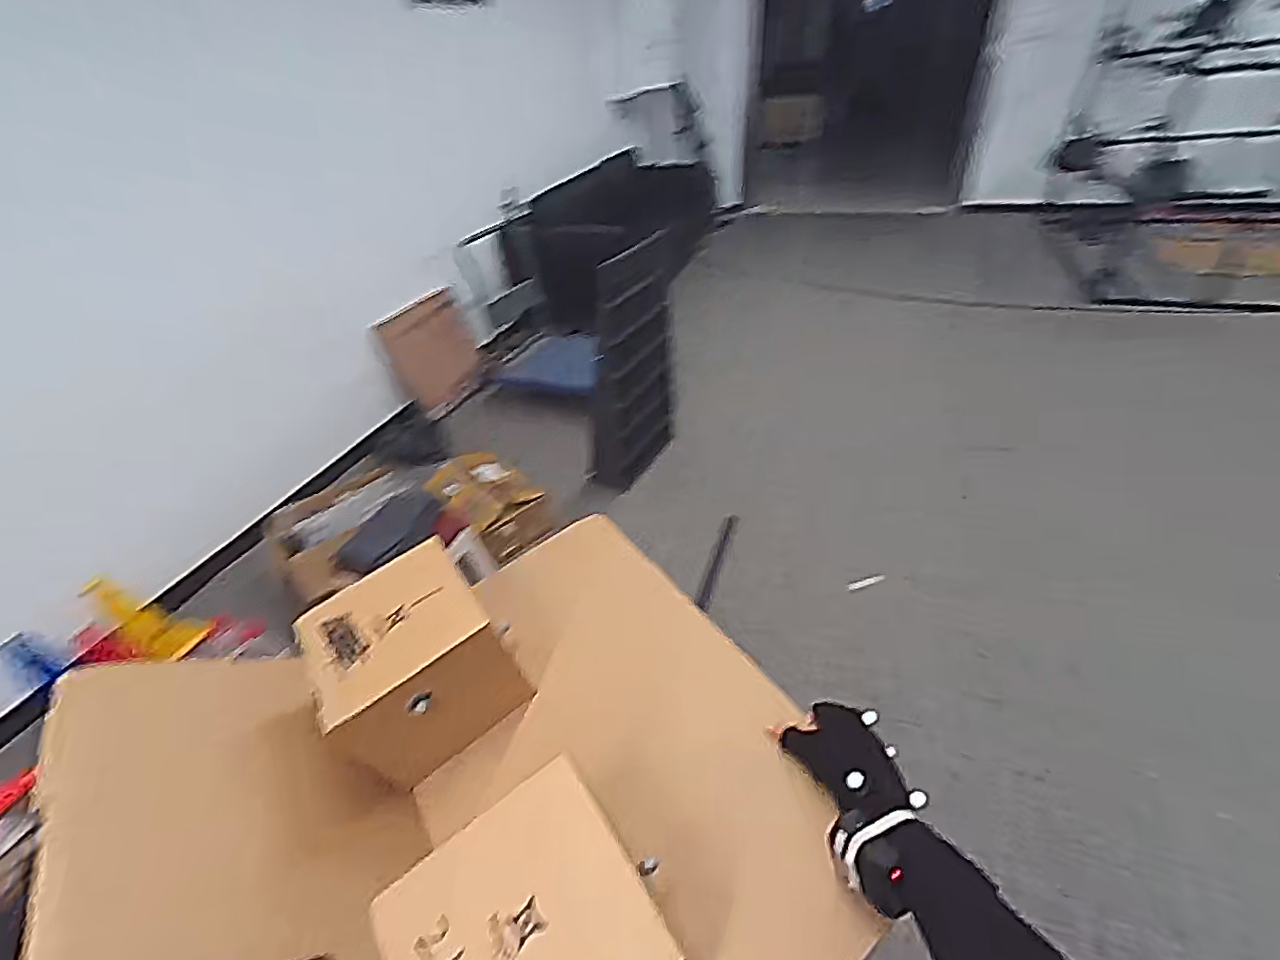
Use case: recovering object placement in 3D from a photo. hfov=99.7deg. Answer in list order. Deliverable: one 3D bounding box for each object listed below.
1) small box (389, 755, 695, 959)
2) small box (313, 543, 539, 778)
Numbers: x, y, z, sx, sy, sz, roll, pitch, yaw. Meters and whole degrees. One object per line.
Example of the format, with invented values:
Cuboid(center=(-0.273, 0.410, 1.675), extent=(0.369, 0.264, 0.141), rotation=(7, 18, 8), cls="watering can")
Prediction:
Cuboid(center=(-0.067, 0.375, 0.445), extent=(0.179, 0.176, 0.168), rotation=(-32, 46, -17), cls="small box")
Cuboid(center=(-0.251, 0.218, 0.655), extent=(0.179, 0.176, 0.168), rotation=(-33, 46, -19), cls="small box")
